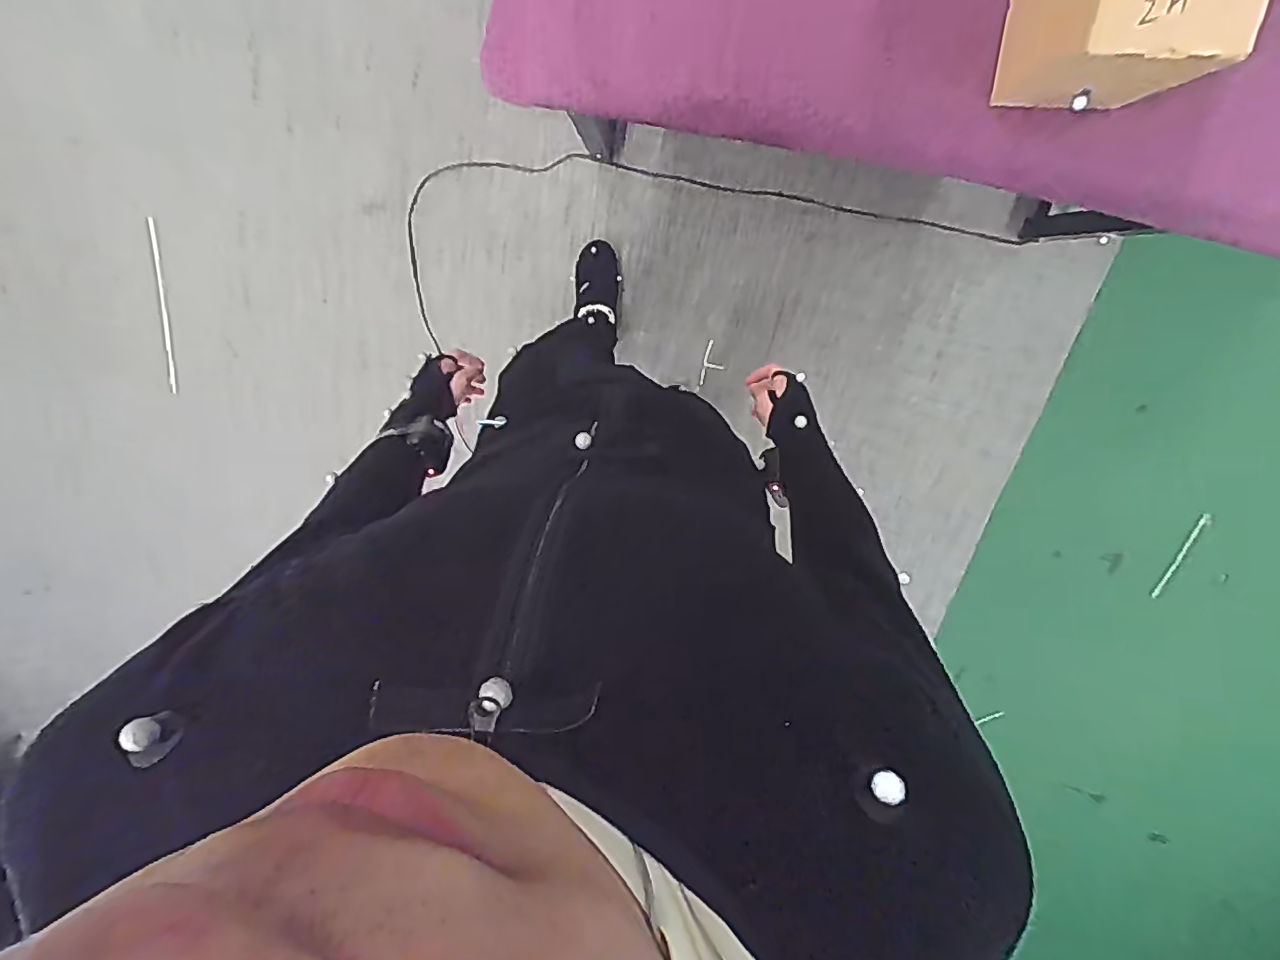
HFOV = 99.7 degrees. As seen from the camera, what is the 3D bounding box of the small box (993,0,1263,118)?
[{"bbox_3d":[0.531,-0.529,0.596,0.168,0.176,0.179,2,109,1],"label":"small box"}]
